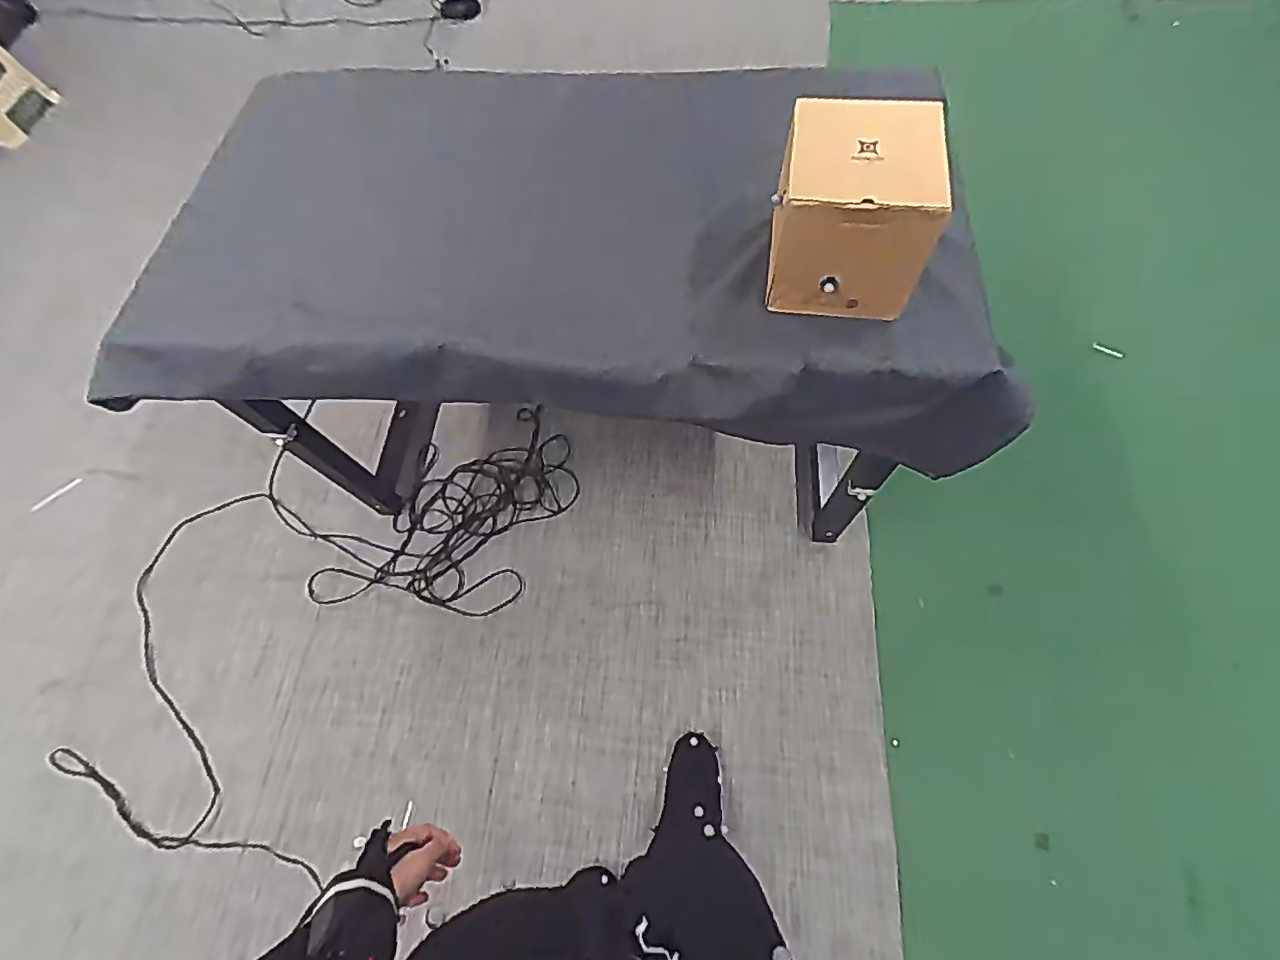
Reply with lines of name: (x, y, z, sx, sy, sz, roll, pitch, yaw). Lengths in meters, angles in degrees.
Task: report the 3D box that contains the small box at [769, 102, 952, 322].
small box: (0.256, -0.324, 0.667, 0.168, 0.176, 0.179, 7, 66, 7)
